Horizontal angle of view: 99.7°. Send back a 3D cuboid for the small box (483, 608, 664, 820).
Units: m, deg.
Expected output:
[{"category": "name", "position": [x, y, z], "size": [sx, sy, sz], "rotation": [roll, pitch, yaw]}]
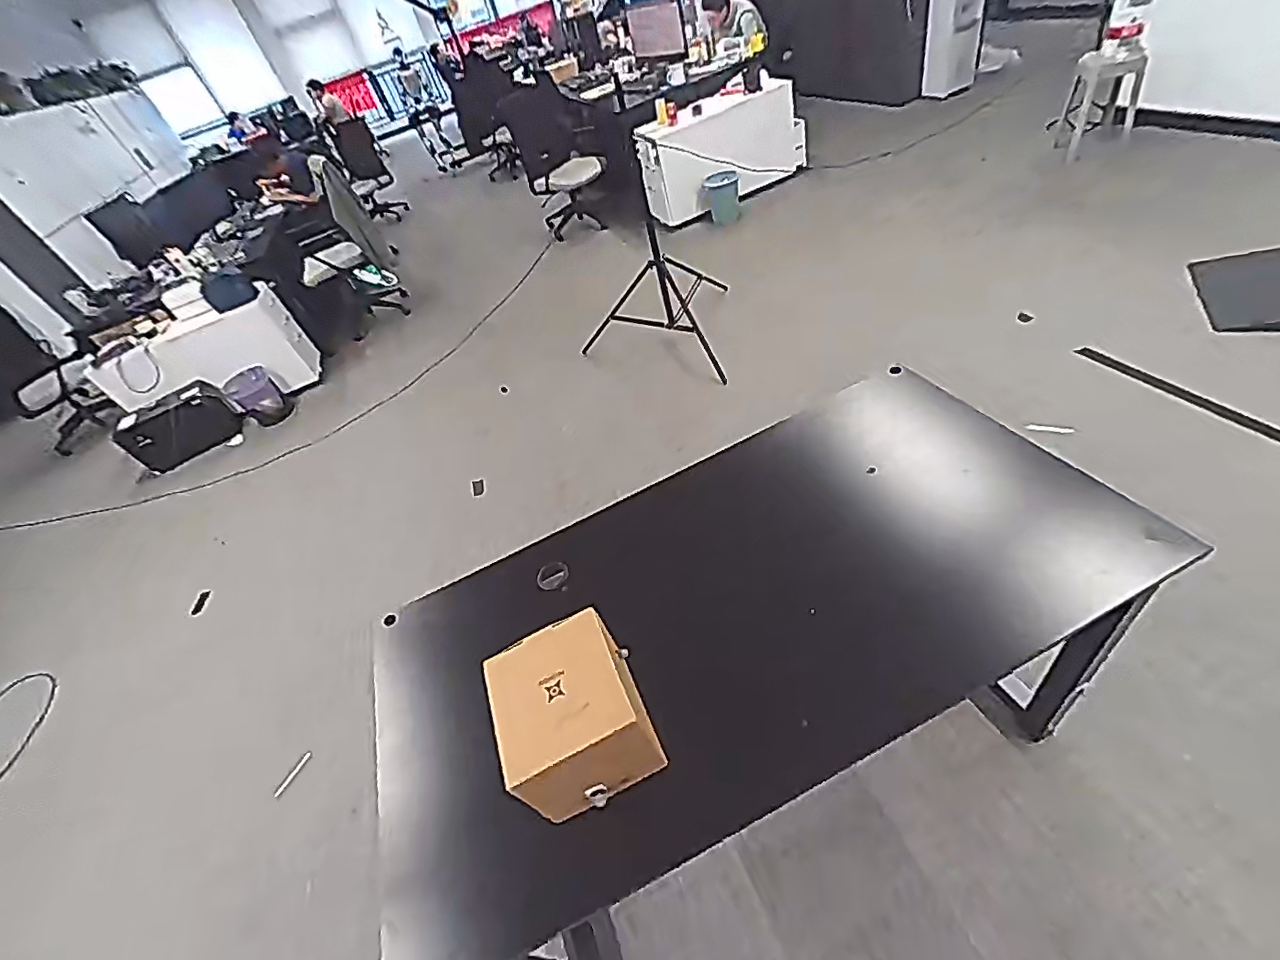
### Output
[{"category": "small box", "position": [-0.087, 0.313, 0.723], "size": [0.168, 0.176, 0.179], "rotation": [-27, 44, -5]}]
